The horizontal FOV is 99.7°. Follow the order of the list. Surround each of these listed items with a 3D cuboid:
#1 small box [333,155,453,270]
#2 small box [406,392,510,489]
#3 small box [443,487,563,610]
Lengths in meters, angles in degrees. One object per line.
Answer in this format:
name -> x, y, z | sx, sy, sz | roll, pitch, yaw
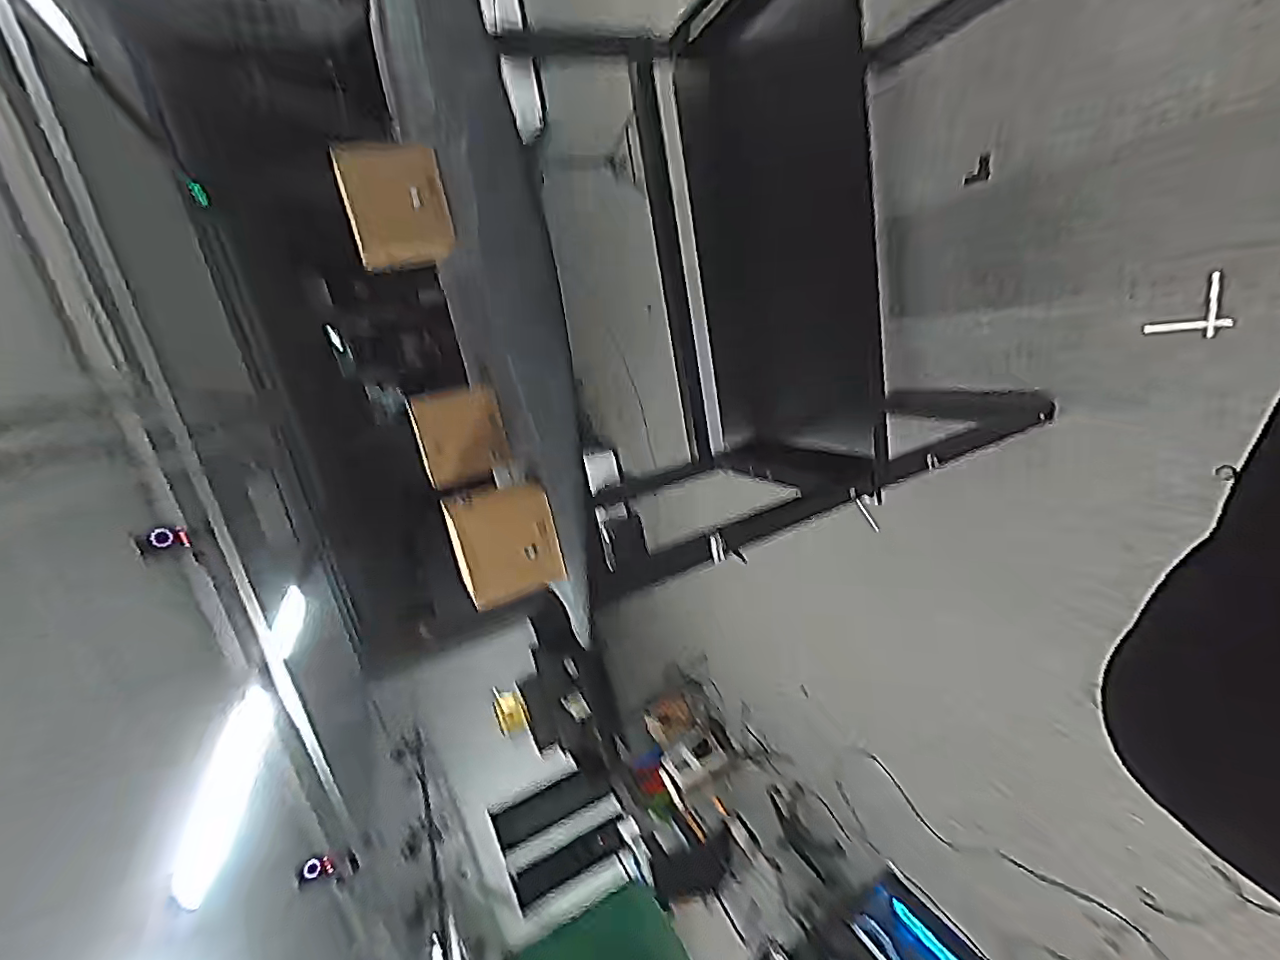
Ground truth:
small box -> -0.471, -0.510, 1.046 | 0.179, 0.176, 0.168 | 25, 130, 61
small box -> -0.395, -0.095, 1.181 | 0.179, 0.176, 0.168 | 22, 126, 63
small box -> -0.257, 0.117, 1.014 | 0.179, 0.176, 0.168 | 13, 118, 64
